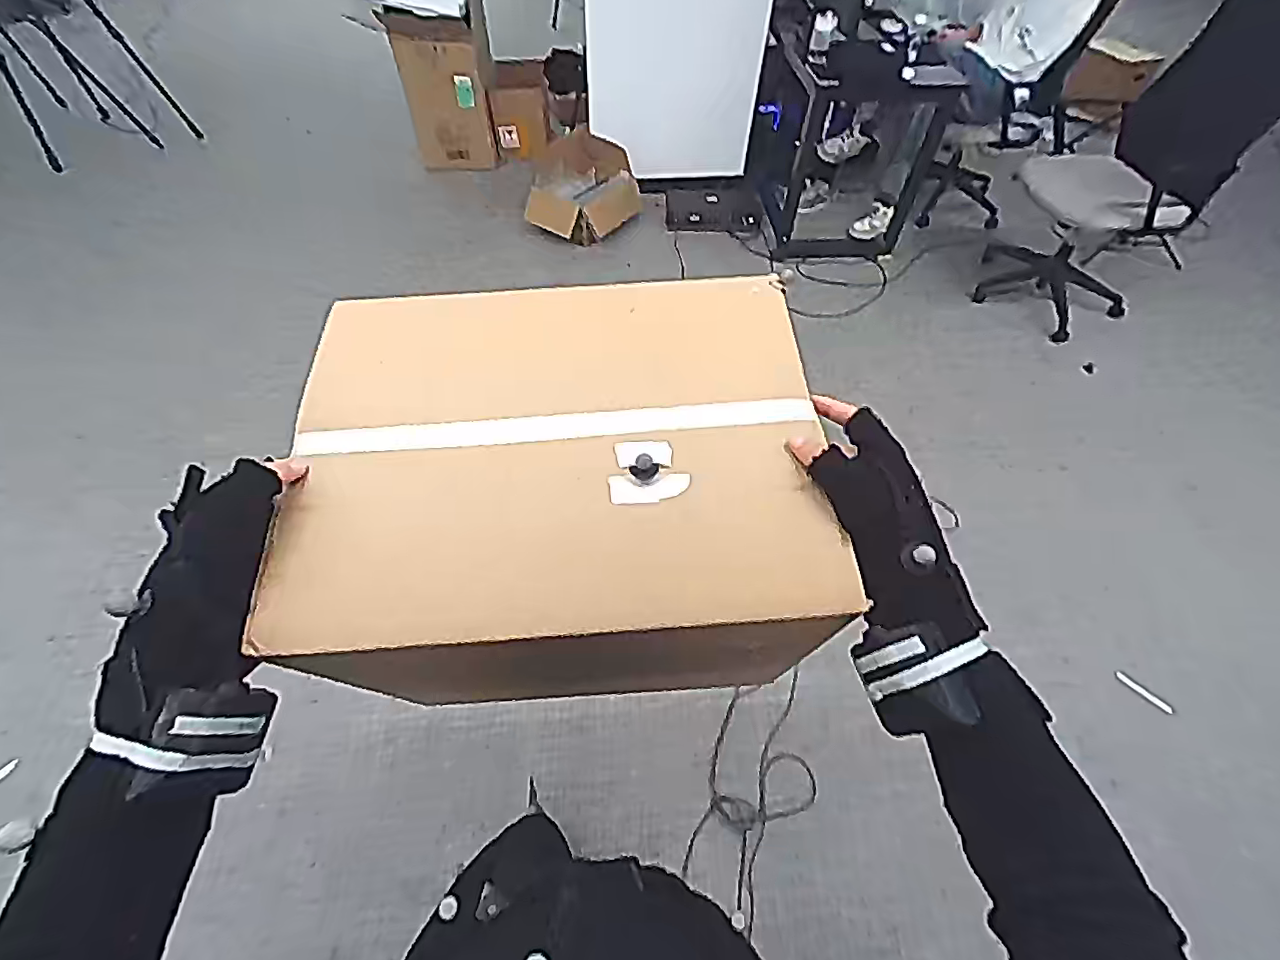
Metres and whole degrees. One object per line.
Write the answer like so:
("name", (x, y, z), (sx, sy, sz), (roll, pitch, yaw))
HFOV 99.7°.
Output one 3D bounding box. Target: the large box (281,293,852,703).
("large box", (-0.059, 0.039, 0.572), (0.408, 0.320, 0.320), (-4, 62, -1))
